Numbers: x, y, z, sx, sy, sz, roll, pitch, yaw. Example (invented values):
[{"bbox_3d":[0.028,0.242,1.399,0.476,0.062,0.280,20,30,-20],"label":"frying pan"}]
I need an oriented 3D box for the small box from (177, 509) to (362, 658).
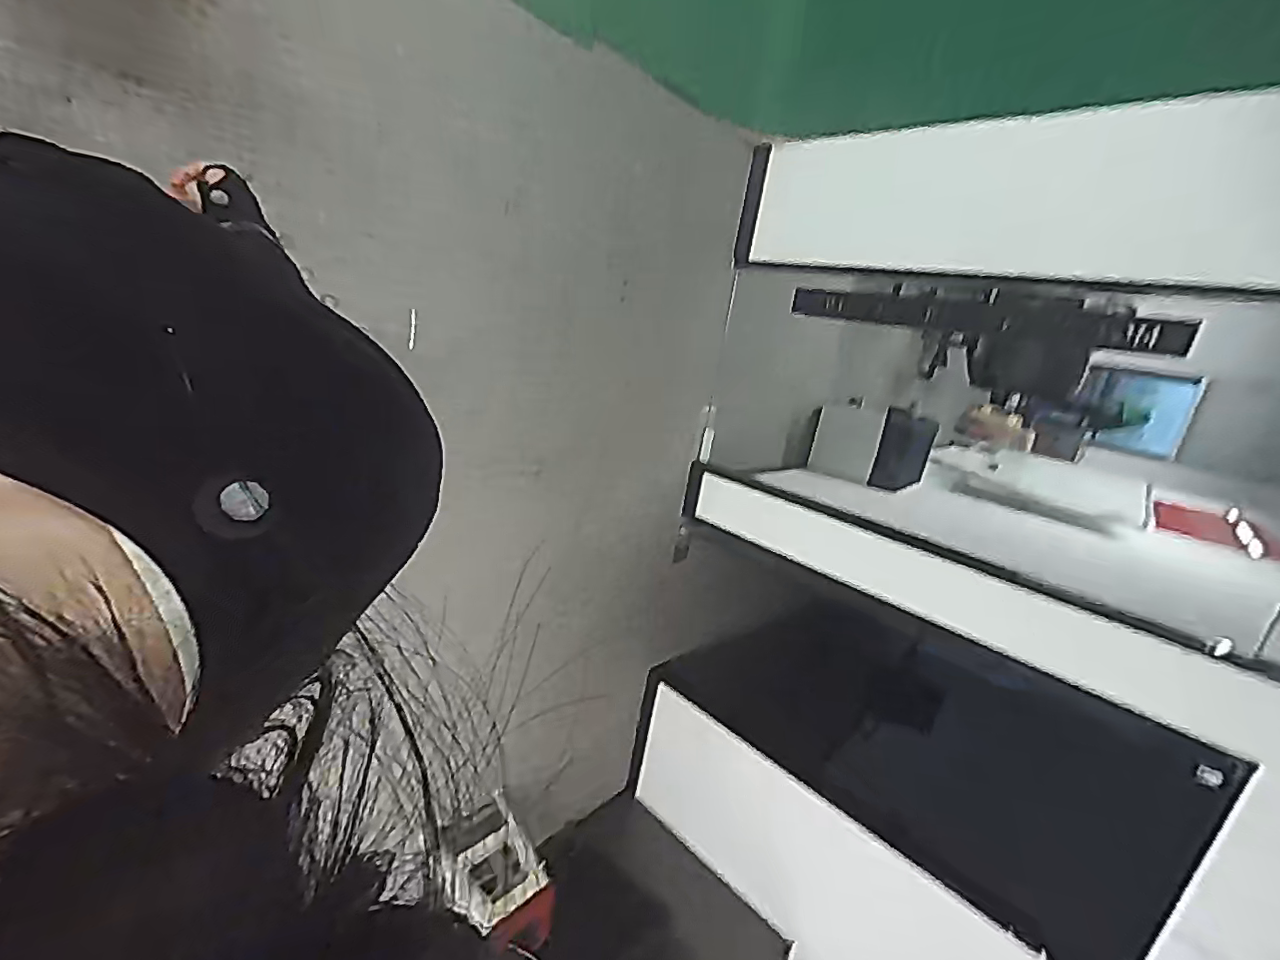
[{"bbox_3d":[-0.619,0.166,0.903,0.168,0.176,0.179,-57,141,-12],"label":"small box"}]
